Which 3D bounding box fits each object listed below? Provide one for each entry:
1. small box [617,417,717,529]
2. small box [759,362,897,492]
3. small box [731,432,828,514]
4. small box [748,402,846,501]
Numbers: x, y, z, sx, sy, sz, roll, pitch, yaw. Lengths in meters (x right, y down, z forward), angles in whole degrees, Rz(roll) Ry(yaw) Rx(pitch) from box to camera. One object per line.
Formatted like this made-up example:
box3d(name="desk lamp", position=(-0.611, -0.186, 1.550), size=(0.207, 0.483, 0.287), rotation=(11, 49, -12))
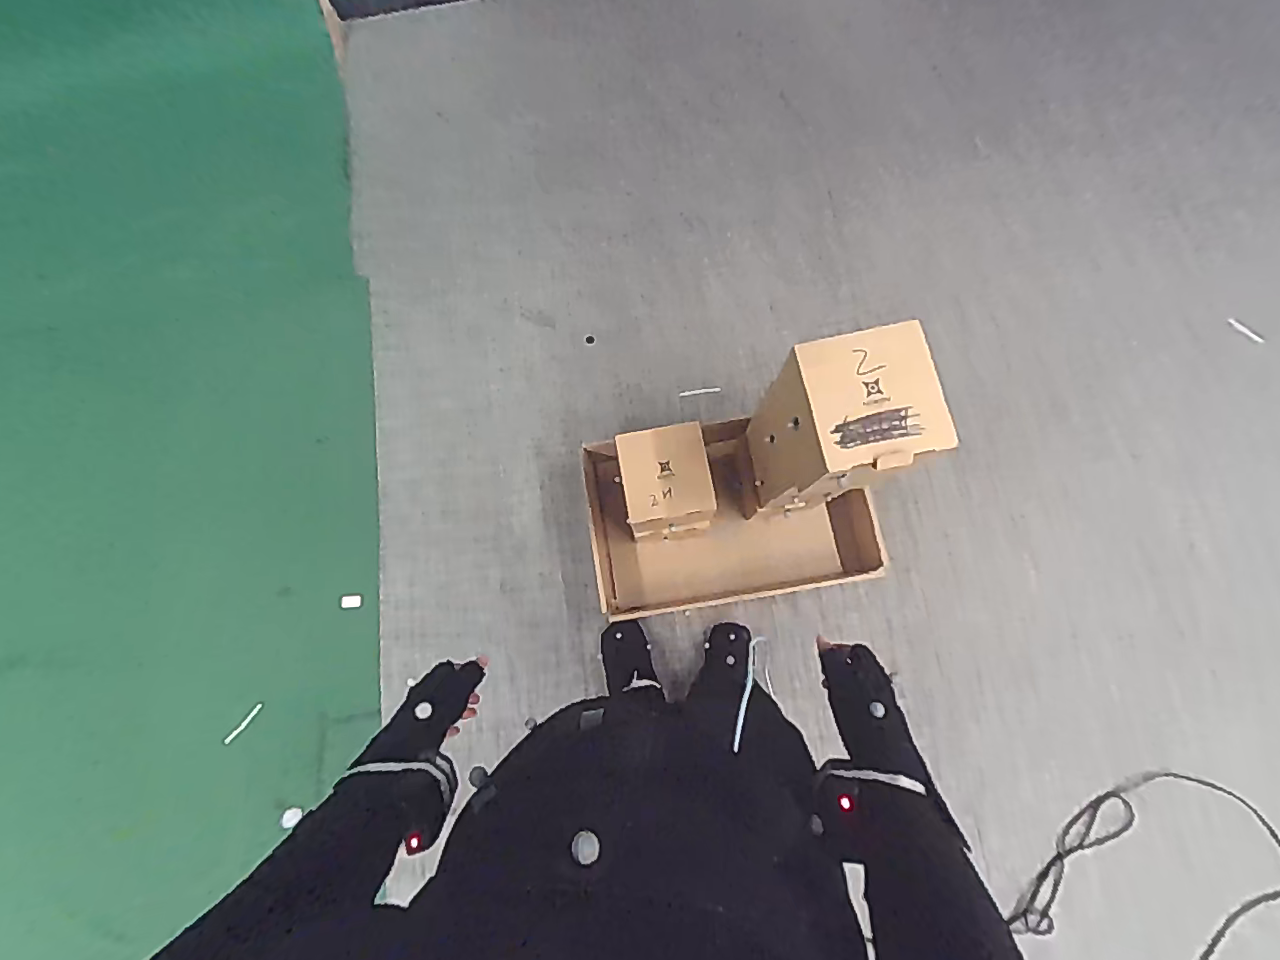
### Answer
box3d(name="small box", position=(0.050, -0.008, 1.085), size=(0.168, 0.176, 0.179), rotation=(-10, 79, 0))
box3d(name="small box", position=(0.307, -0.079, 0.921), size=(0.168, 0.176, 0.179), rotation=(-9, 79, 1))
box3d(name="small box", position=(0.314, -0.023, 1.245), size=(0.168, 0.176, 0.179), rotation=(-14, 79, 2))
box3d(name="small box", position=(0.317, -0.059, 1.067), size=(0.168, 0.176, 0.179), rotation=(-10, 79, 2))
